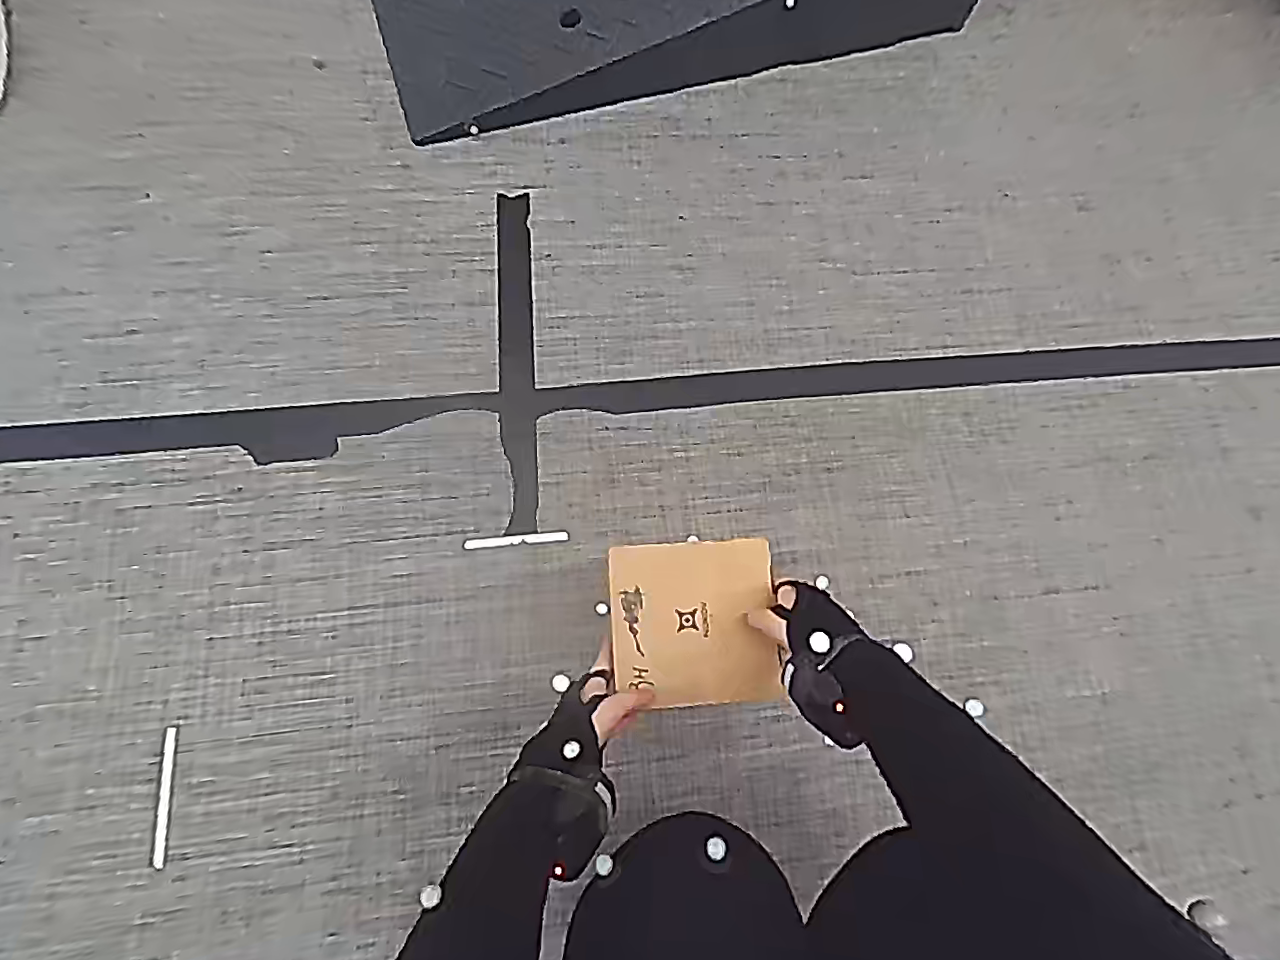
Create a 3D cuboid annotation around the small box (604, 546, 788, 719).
[{"bbox_3d":[0.051,0.165,0.621,0.179,0.176,0.168,-2,78,-5],"label":"small box"}]
